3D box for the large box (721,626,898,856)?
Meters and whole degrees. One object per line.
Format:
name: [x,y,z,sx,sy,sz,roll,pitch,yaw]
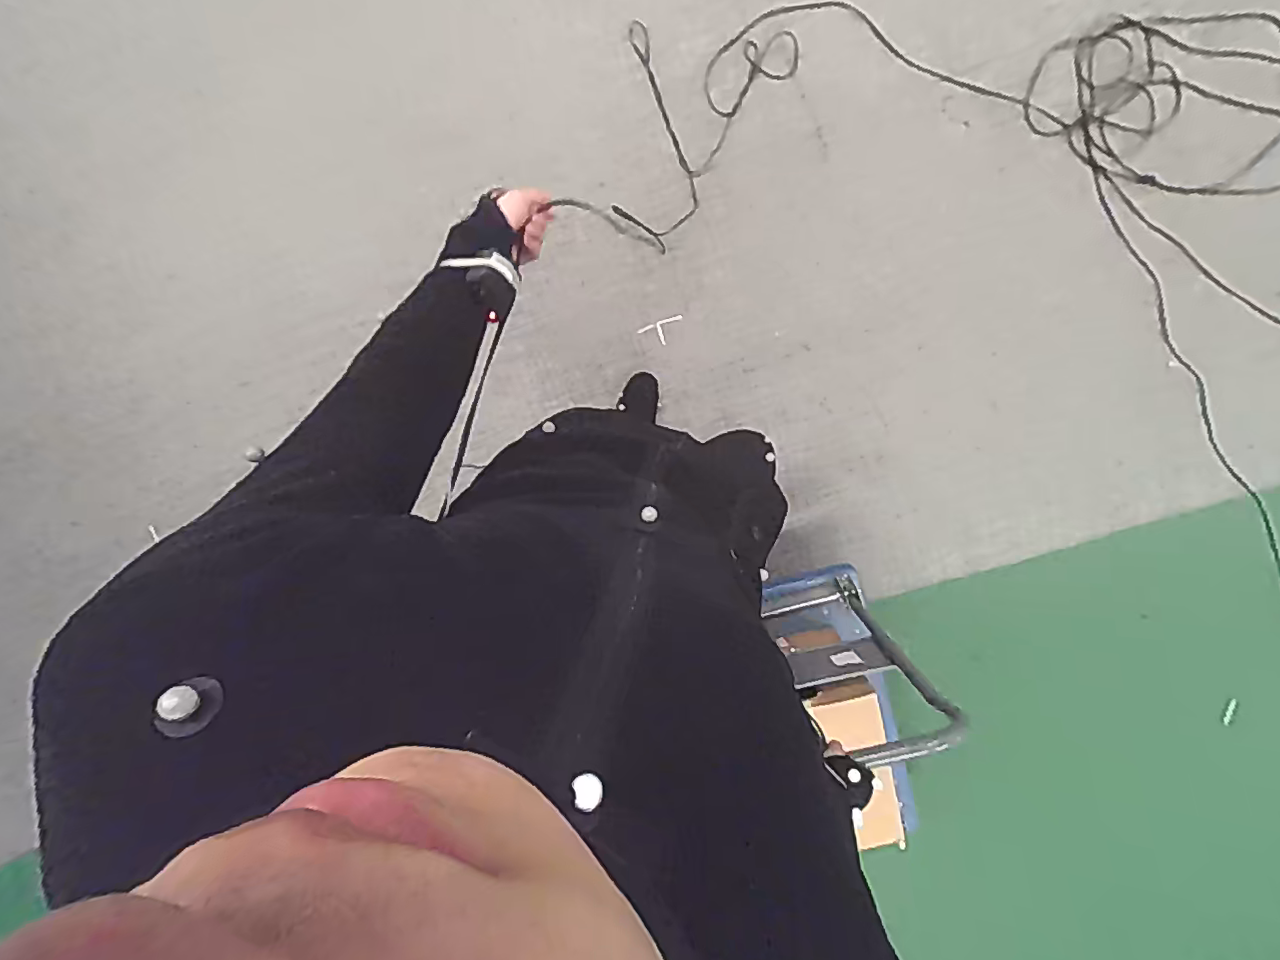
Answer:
large box: [0.419,0.654,1.399,0.320,0.320,0.408,-13,102,5]
